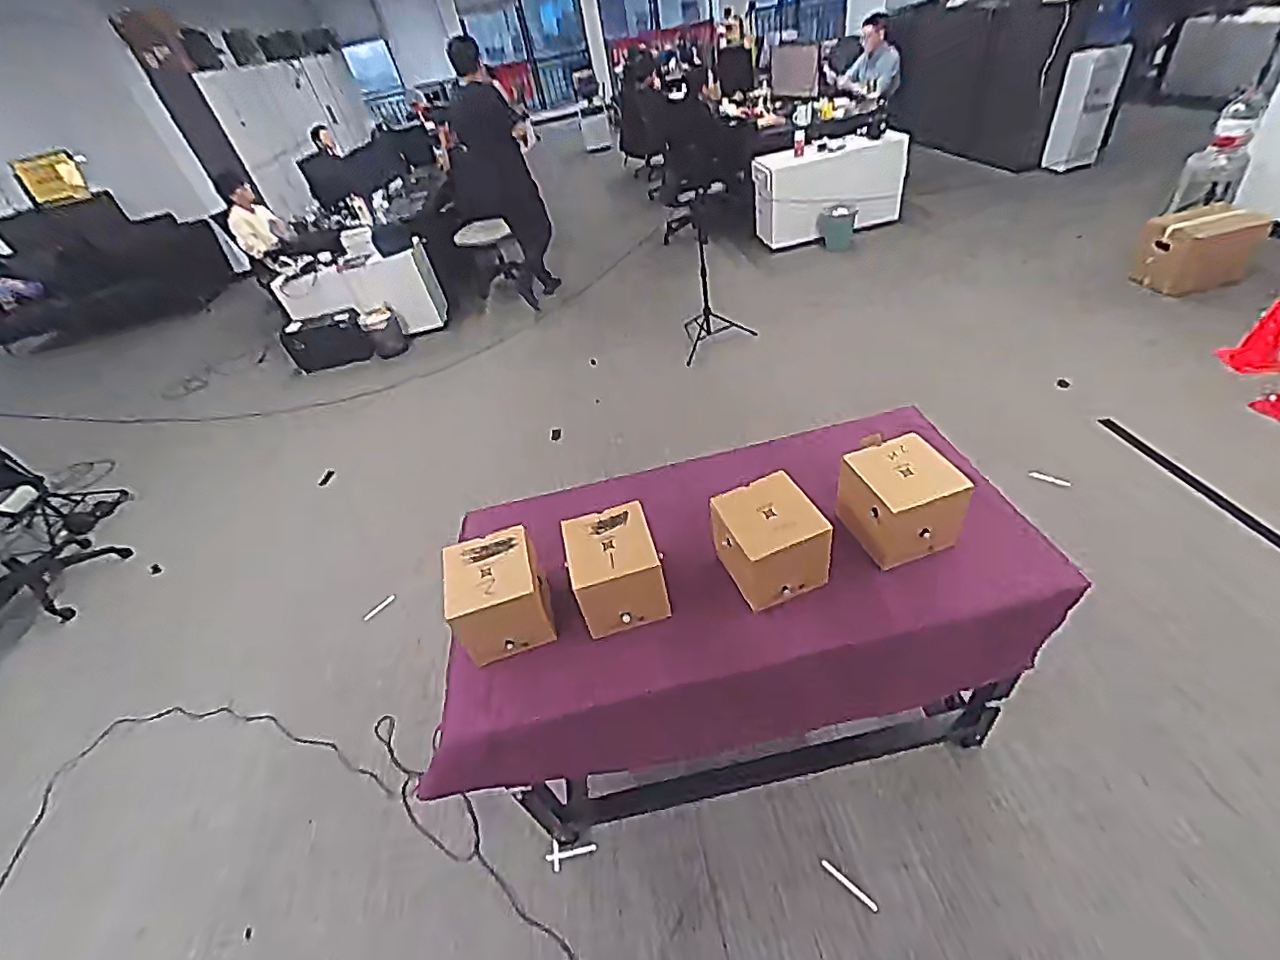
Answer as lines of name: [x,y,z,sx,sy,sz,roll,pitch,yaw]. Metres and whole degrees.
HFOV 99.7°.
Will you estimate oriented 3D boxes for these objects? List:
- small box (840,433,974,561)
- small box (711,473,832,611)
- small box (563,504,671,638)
small box: [0.519,0.040,1.078,0.168,0.176,0.179,-18,41,-5]
small box: [0.254,0.122,1.062,0.168,0.176,0.179,-21,41,-7]
small box: [-0.045,0.181,1.076,0.168,0.176,0.179,-16,42,-3]
